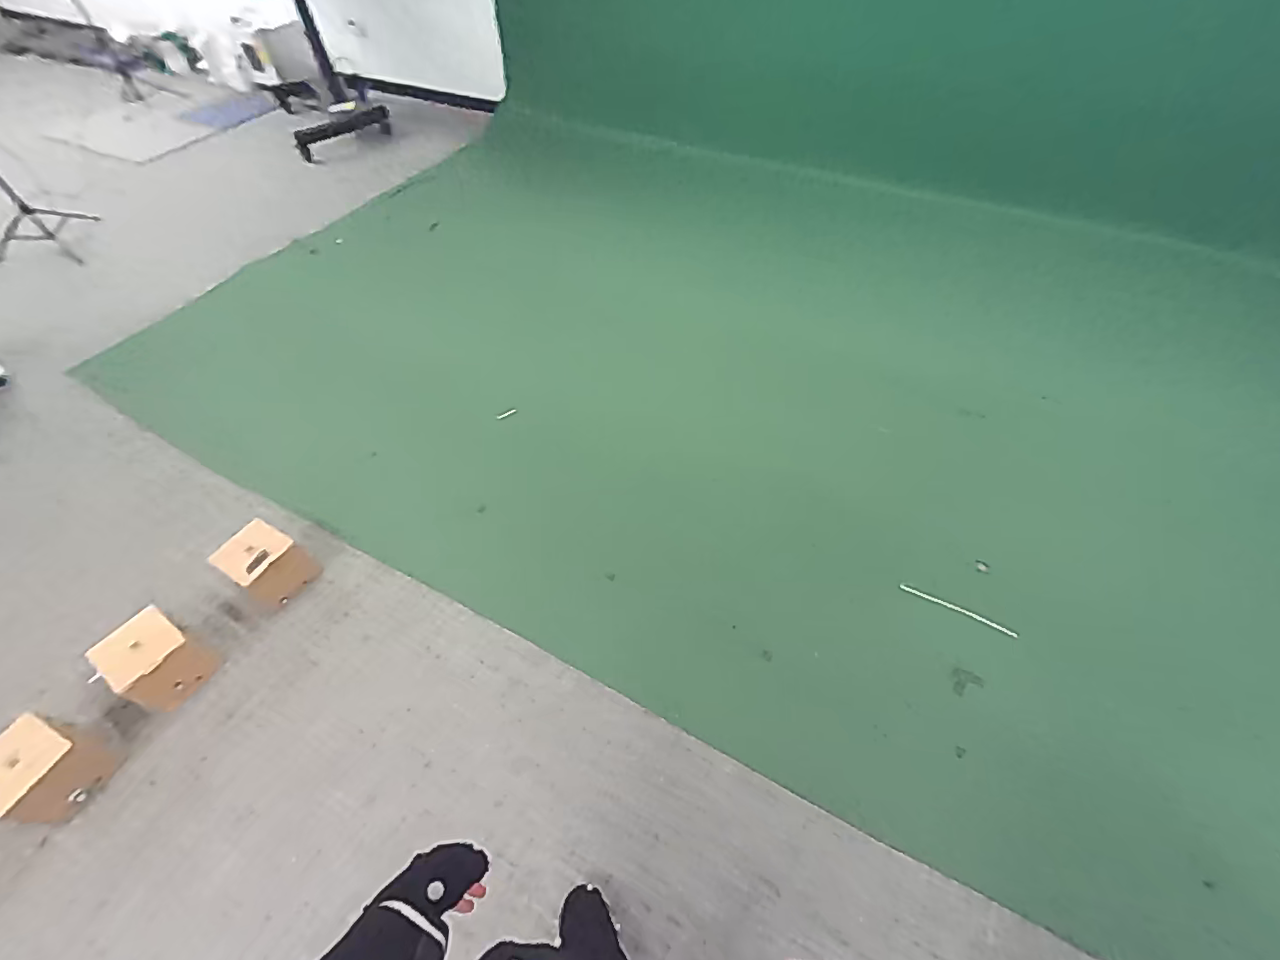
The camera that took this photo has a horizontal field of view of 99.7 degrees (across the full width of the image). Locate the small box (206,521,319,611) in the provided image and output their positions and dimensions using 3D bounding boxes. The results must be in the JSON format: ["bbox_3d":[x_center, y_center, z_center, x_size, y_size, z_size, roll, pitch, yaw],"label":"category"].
[{"bbox_3d":[-1.085,0.255,1.570,0.179,0.176,0.168,24,56,19],"label":"small box"}]

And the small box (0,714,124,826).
[{"bbox_3d":[-1.378,0.674,1.248,0.179,0.176,0.168,21,57,14],"label":"small box"}]

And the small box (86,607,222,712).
[{"bbox_3d":[-1.253,0.471,1.405,0.179,0.176,0.168,28,58,20],"label":"small box"}]
